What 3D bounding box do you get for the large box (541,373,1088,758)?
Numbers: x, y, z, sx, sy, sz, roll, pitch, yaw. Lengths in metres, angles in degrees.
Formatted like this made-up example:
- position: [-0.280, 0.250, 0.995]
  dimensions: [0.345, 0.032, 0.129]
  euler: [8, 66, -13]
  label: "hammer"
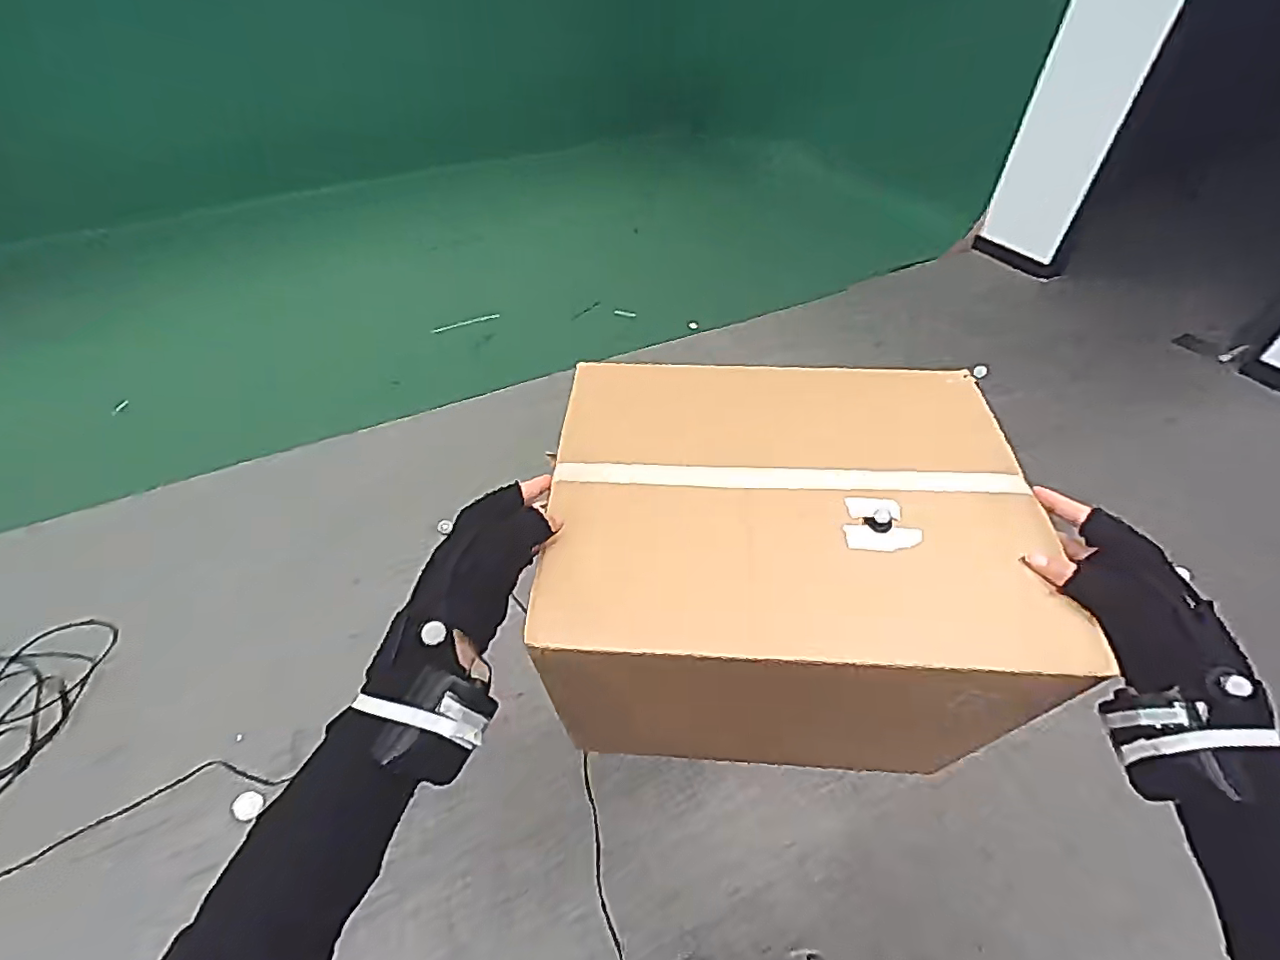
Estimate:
- position: [0.128, 0.100, 0.597]
  dimensions: [0.408, 0.320, 0.320]
  euler: [2, 51, 2]
  label: "large box"
